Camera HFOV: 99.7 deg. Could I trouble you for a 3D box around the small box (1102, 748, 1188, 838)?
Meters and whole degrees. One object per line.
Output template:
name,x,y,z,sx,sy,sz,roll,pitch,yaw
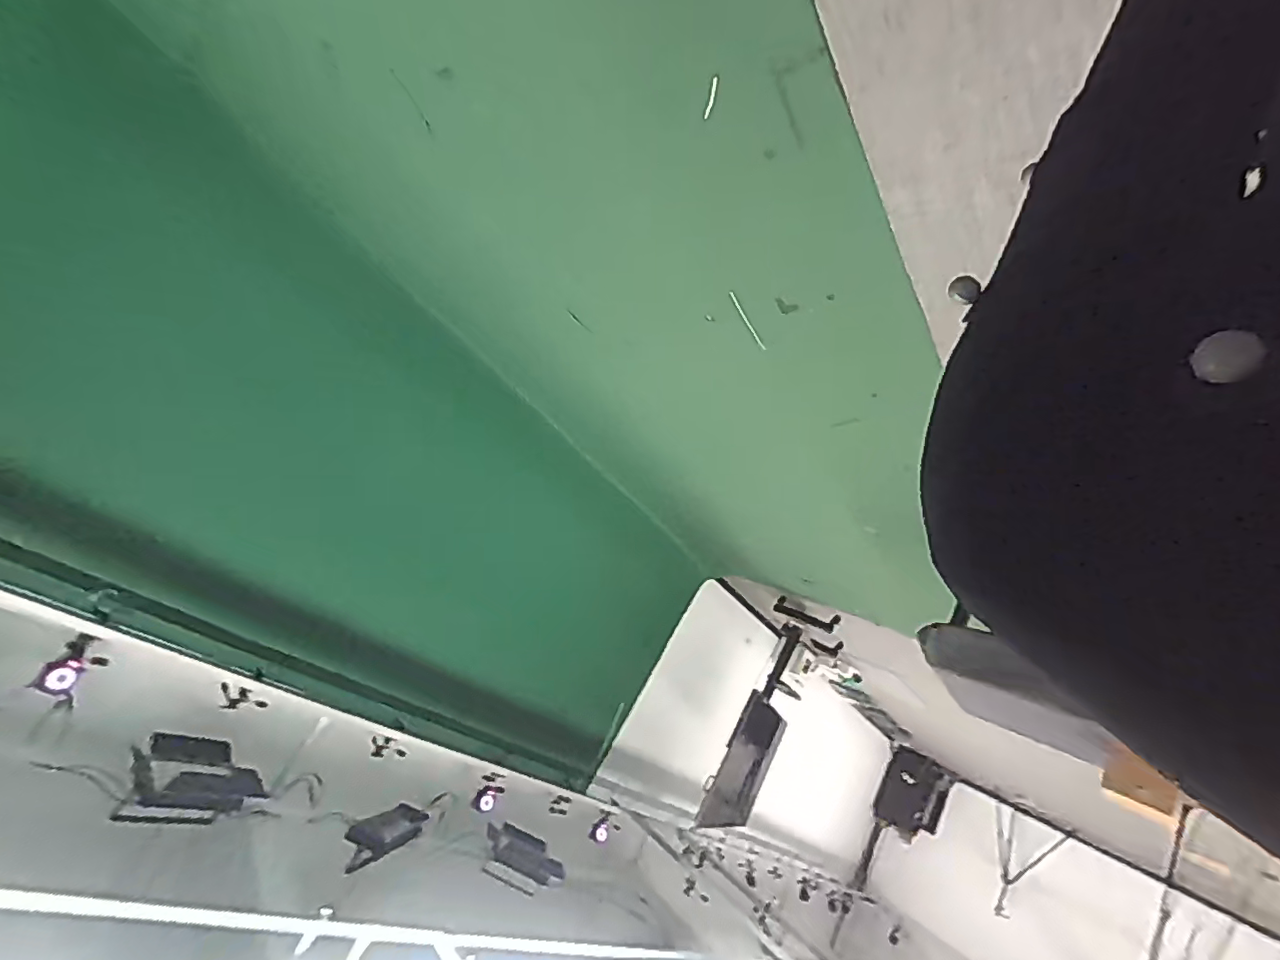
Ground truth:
small box,1.616,0.995,1.728,0.179,0.176,0.168,13,154,50
